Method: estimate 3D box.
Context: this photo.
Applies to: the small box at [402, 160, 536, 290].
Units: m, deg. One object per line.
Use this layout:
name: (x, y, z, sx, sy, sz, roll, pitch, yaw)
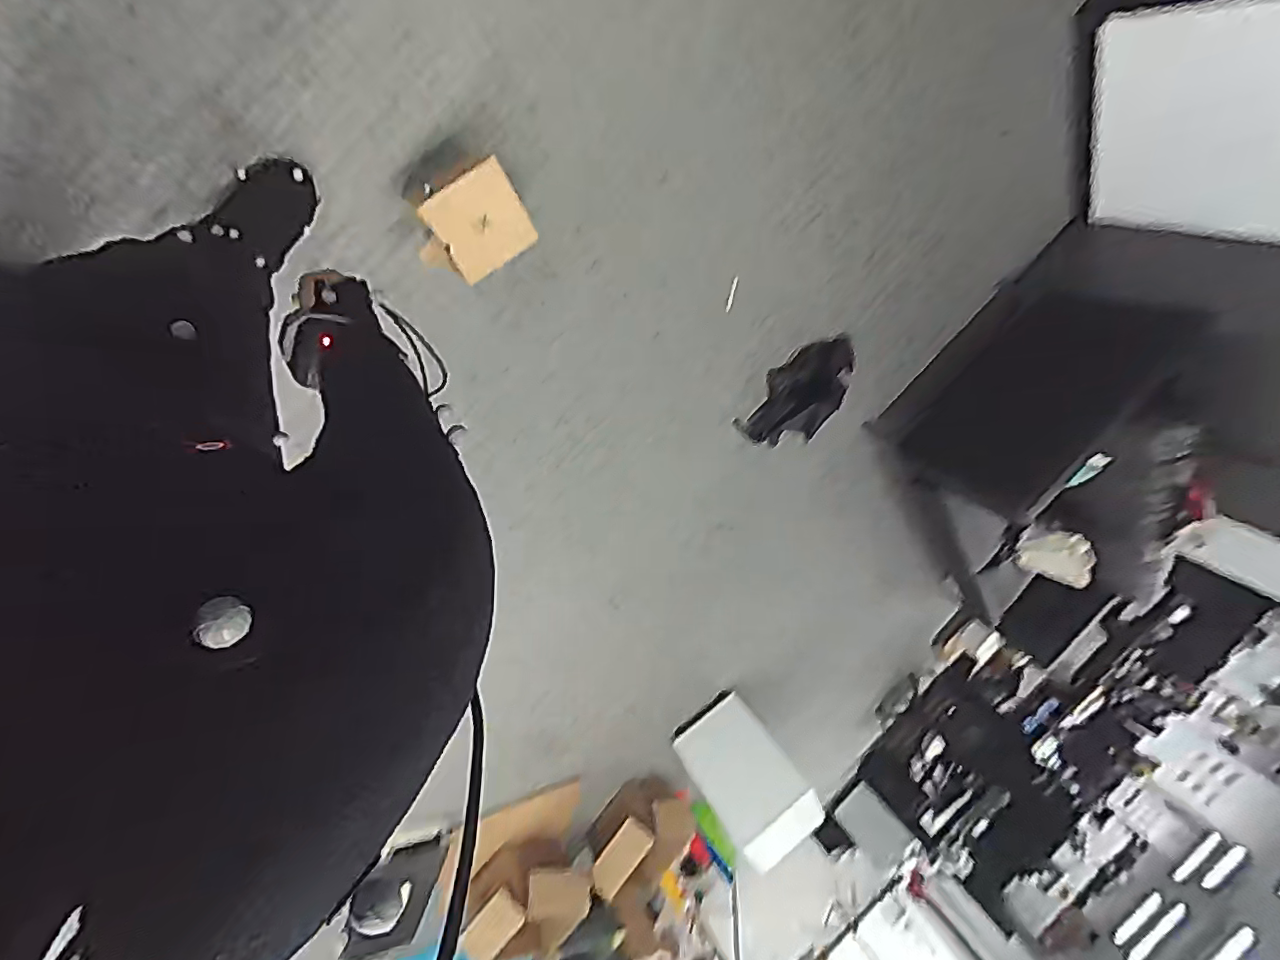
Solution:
small box: (-0.347, -0.520, 1.091, 0.179, 0.176, 0.168, -39, 134, -7)
